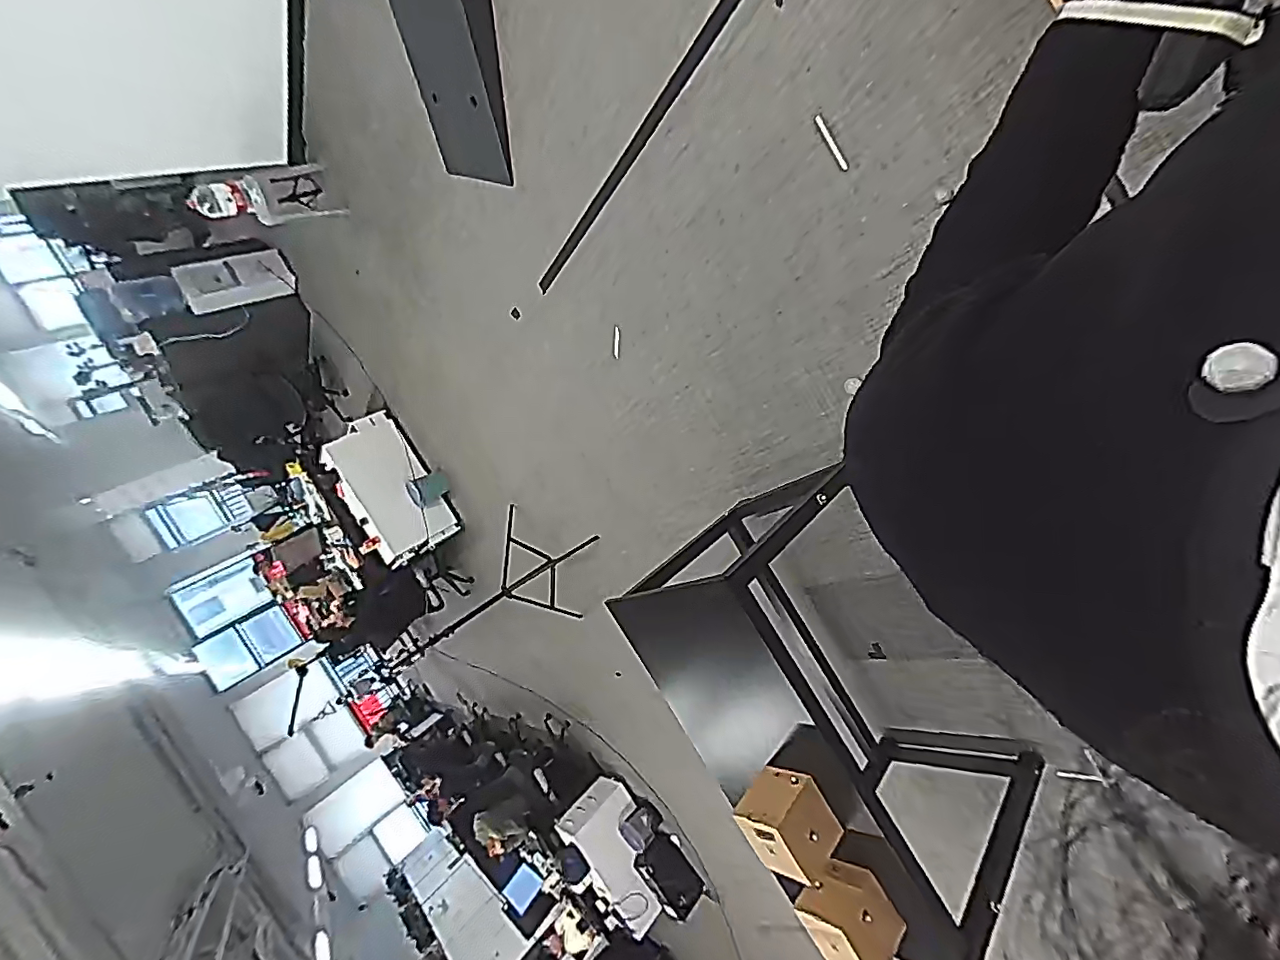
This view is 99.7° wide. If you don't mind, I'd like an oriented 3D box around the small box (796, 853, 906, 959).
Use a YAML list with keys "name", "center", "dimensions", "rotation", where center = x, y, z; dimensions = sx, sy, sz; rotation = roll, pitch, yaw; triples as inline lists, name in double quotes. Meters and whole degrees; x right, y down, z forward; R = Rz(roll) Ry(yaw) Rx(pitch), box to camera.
- name: "small box"
  center: [0.549, 1.121, 1.403]
  dimensions: [0.179, 0.176, 0.168]
  rotation: [56, 146, 0]

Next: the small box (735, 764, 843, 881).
- name: "small box"
  center: [0.388, 0.873, 1.399]
  dimensions: [0.179, 0.176, 0.168]
  rotation: [58, 145, -3]
